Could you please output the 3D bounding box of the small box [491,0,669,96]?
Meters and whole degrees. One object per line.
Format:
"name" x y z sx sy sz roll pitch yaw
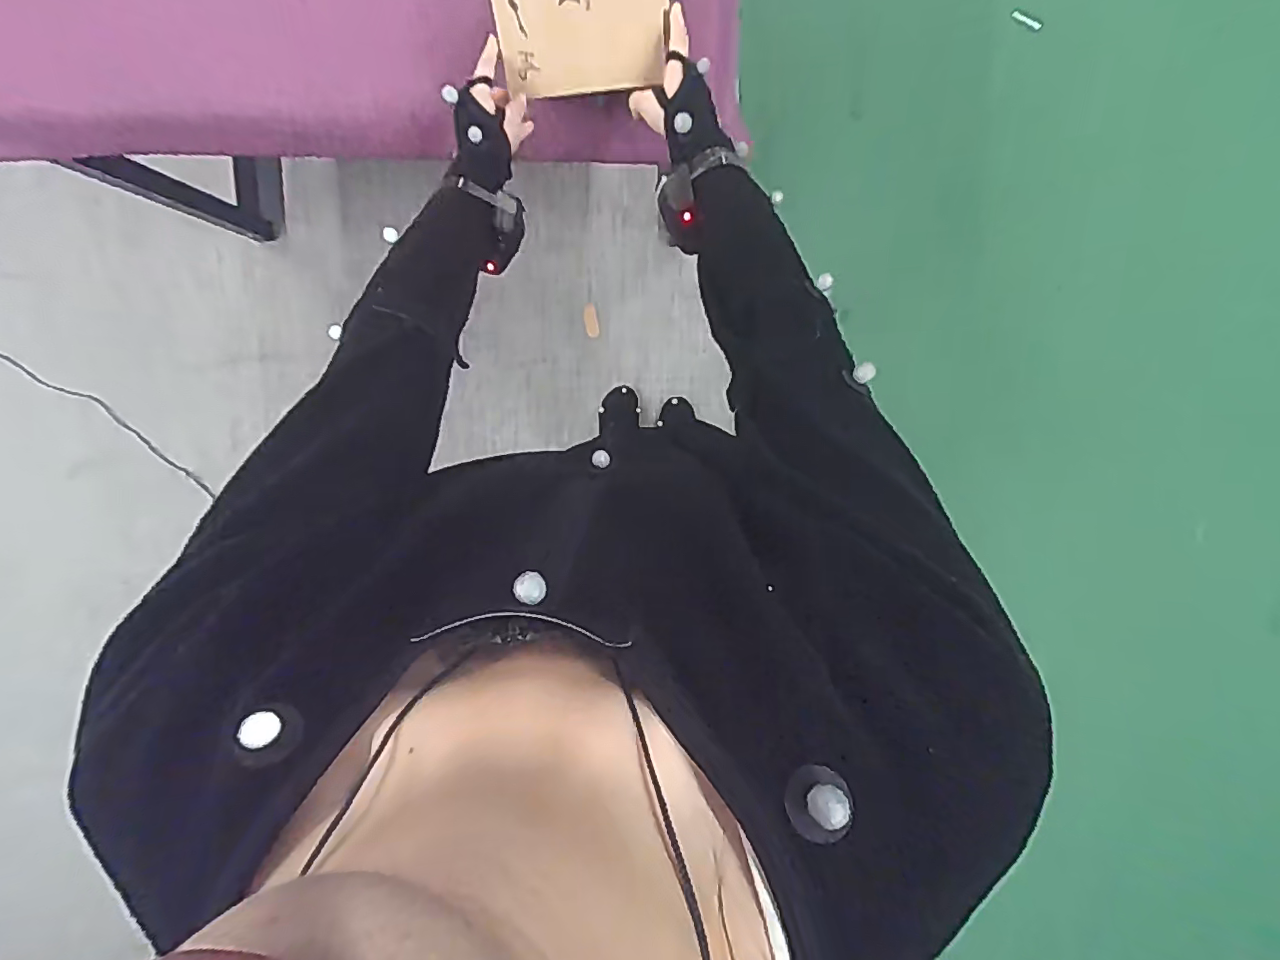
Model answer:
"small box" -0.061 -0.532 0.593 0.179 0.176 0.168 -3 126 4
